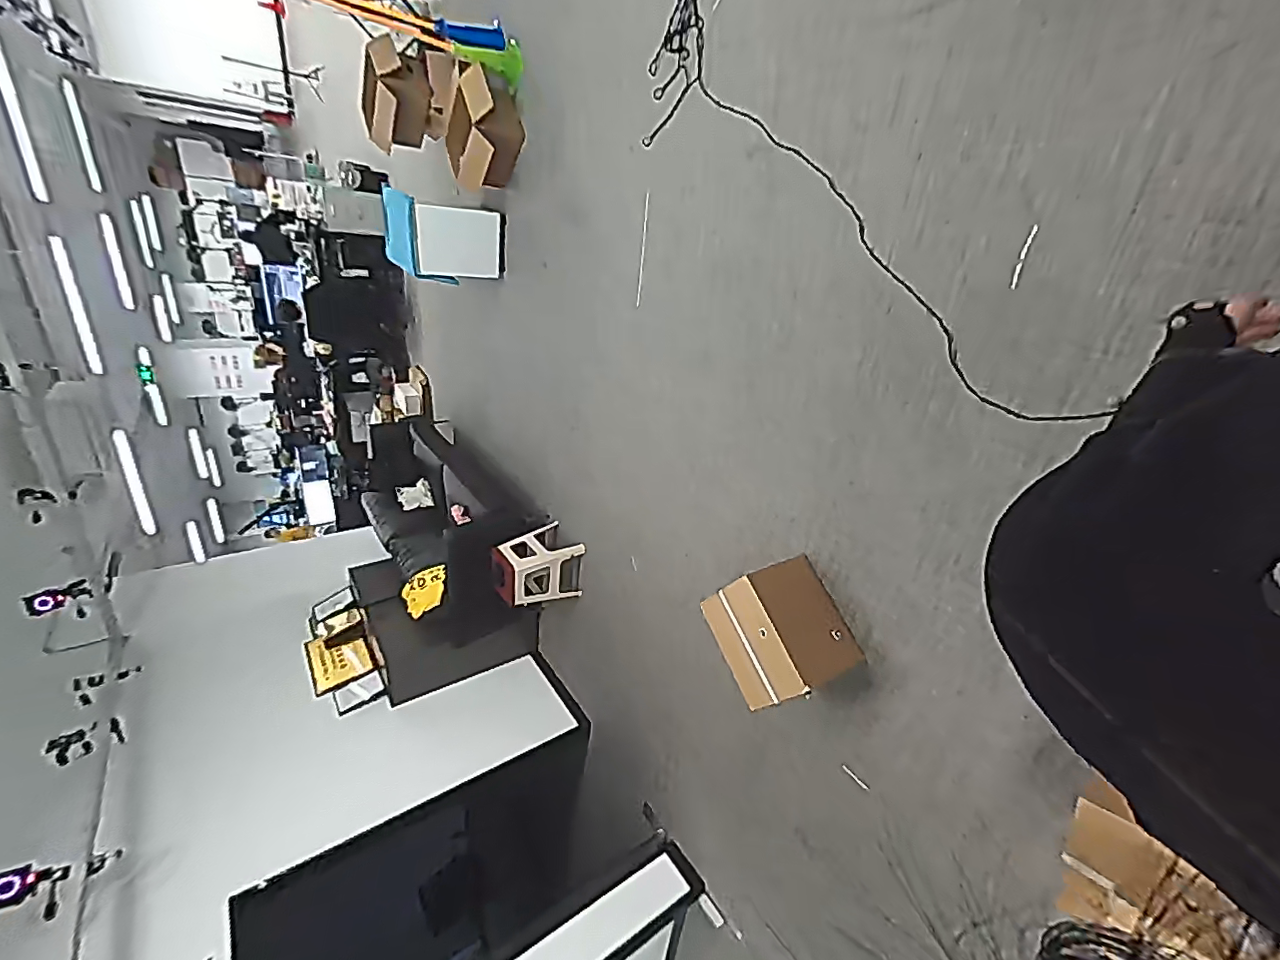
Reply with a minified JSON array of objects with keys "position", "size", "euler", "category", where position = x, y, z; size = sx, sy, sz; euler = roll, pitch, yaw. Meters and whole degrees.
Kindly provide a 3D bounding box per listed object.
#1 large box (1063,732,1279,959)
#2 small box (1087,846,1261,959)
[{"position":[1.147,0.791,1.073],"size":[0.408,0.320,0.320],"euler":[16,114,51],"category":"large box"},{"position":[0.932,0.798,0.944],"size":[0.168,0.176,0.179],"euler":[26,120,50],"category":"small box"}]
